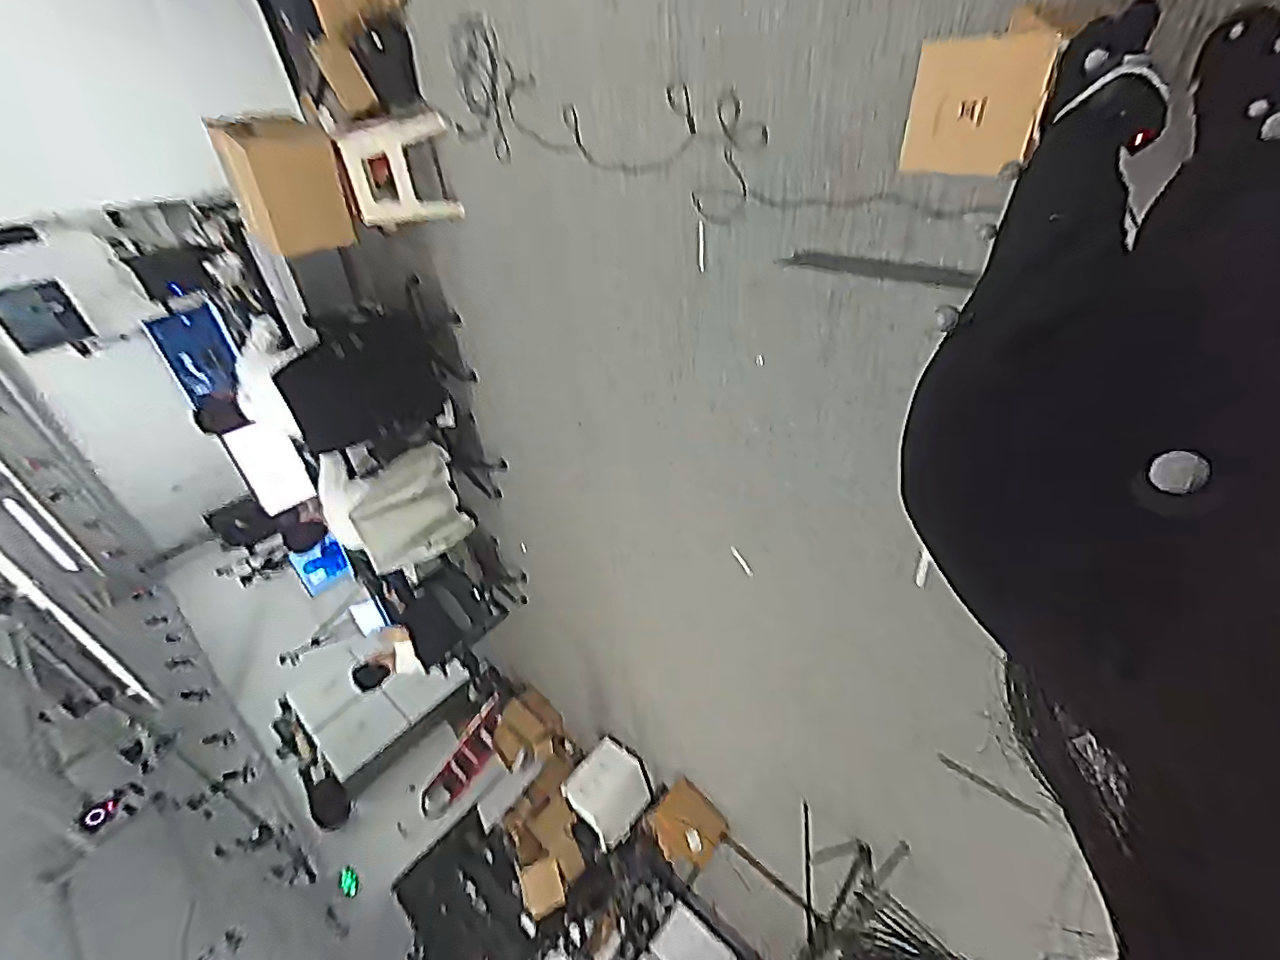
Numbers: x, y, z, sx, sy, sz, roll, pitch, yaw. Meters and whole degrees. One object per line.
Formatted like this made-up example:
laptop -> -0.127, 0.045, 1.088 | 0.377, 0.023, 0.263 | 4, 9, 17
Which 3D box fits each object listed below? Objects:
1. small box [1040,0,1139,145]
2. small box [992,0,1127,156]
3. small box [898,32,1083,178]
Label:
small box -> 0.752, -0.731, 0.988 | 0.179, 0.176, 0.168 | 45, 144, 11
small box -> 0.647, -0.647, 0.894 | 0.179, 0.176, 0.168 | 47, 145, 10
small box -> 0.526, -0.566, 0.817 | 0.179, 0.176, 0.168 | 26, 135, 34
